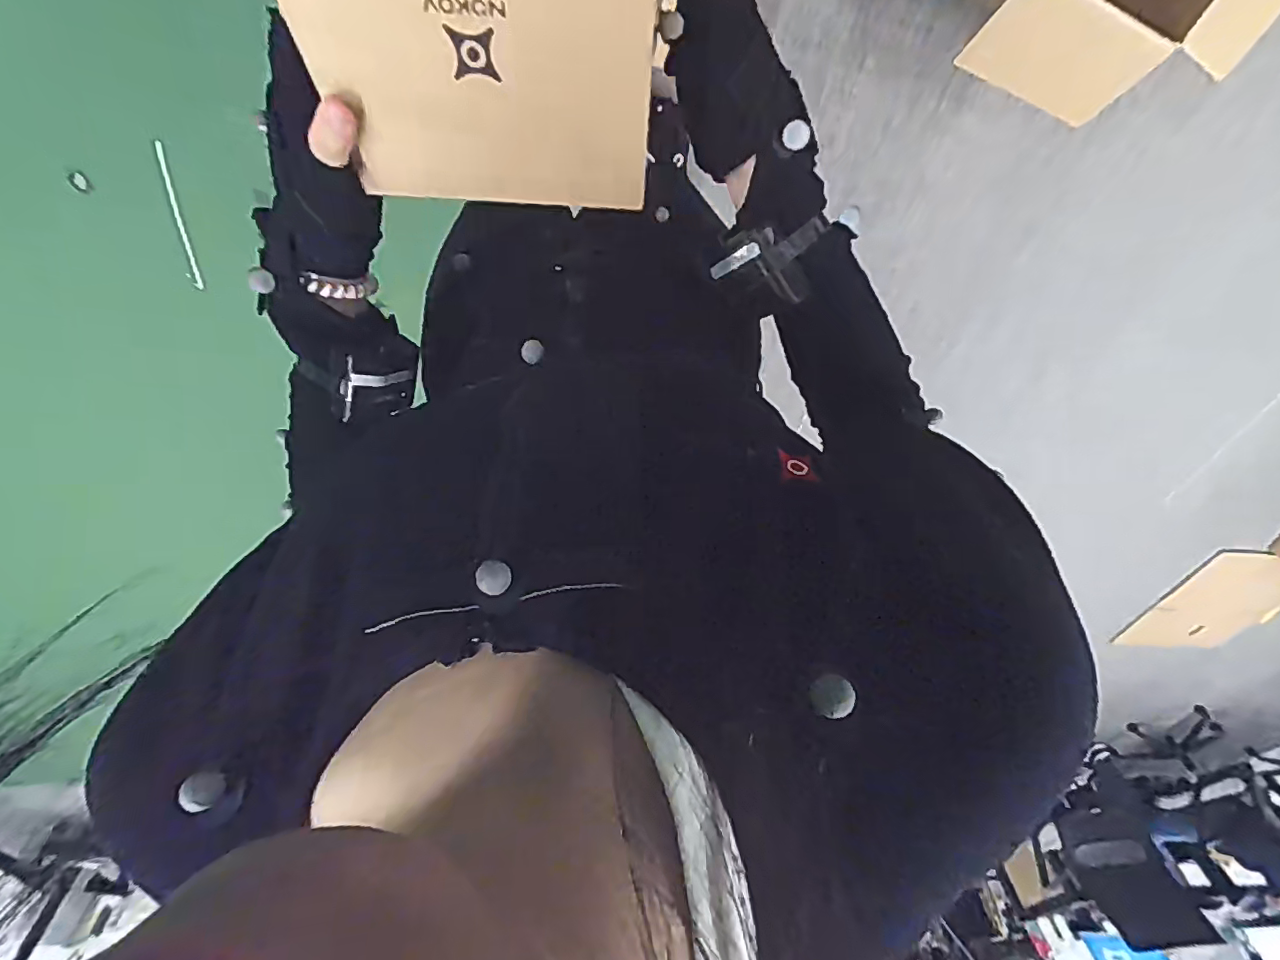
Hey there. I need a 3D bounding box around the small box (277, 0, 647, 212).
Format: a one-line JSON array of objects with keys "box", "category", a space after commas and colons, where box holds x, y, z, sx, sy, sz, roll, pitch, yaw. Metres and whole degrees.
[{"box": [-0.078, -0.277, 0.287, 0.168, 0.176, 0.179, 1, 152, -2], "category": "small box"}]
